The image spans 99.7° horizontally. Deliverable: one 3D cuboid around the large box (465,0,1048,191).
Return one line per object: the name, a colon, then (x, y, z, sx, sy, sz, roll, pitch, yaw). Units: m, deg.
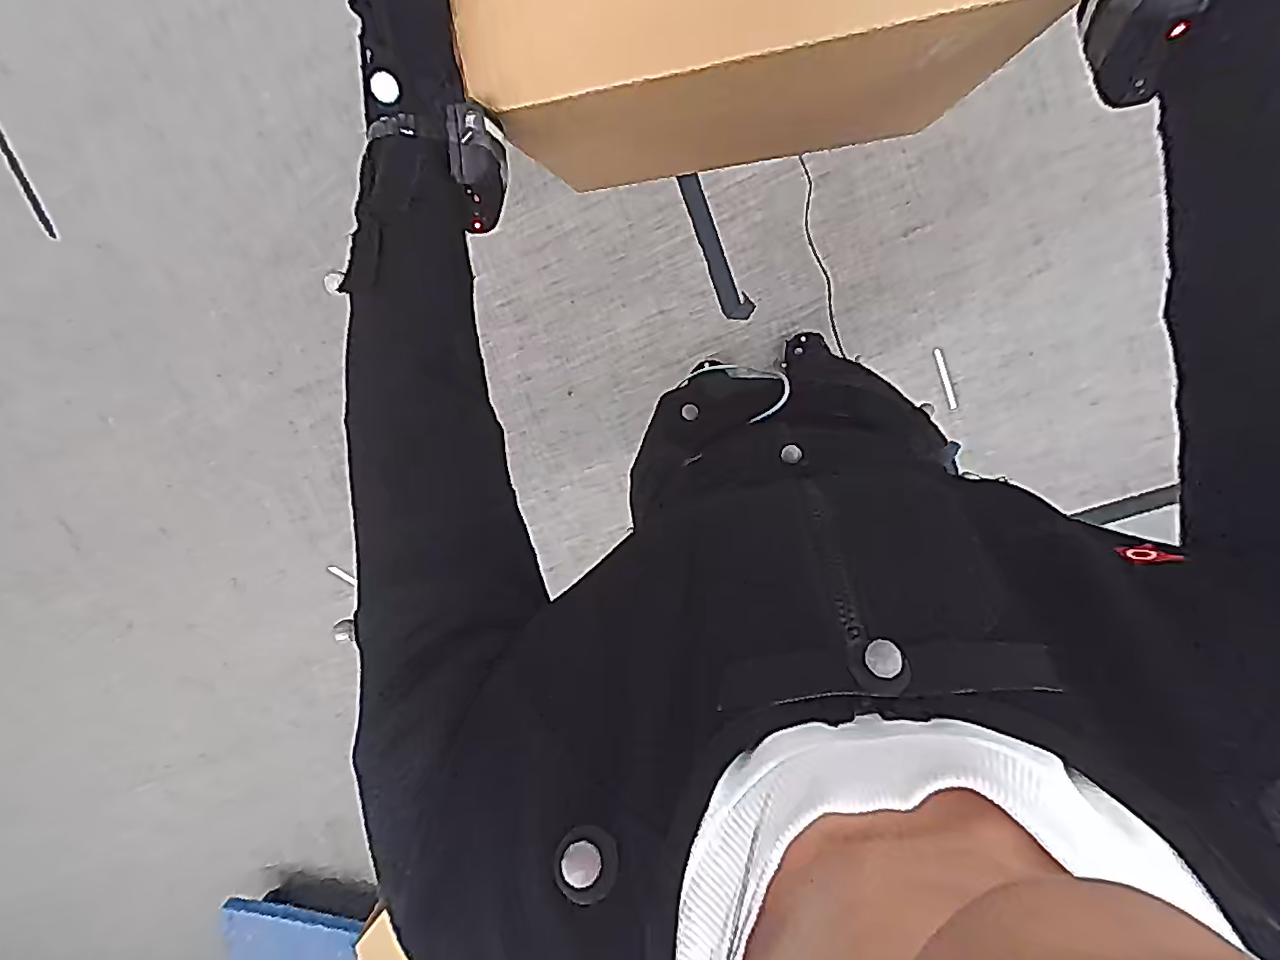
large box: (0.077, -0.475, 0.454, 0.408, 0.320, 0.320, -6, 108, 9)
